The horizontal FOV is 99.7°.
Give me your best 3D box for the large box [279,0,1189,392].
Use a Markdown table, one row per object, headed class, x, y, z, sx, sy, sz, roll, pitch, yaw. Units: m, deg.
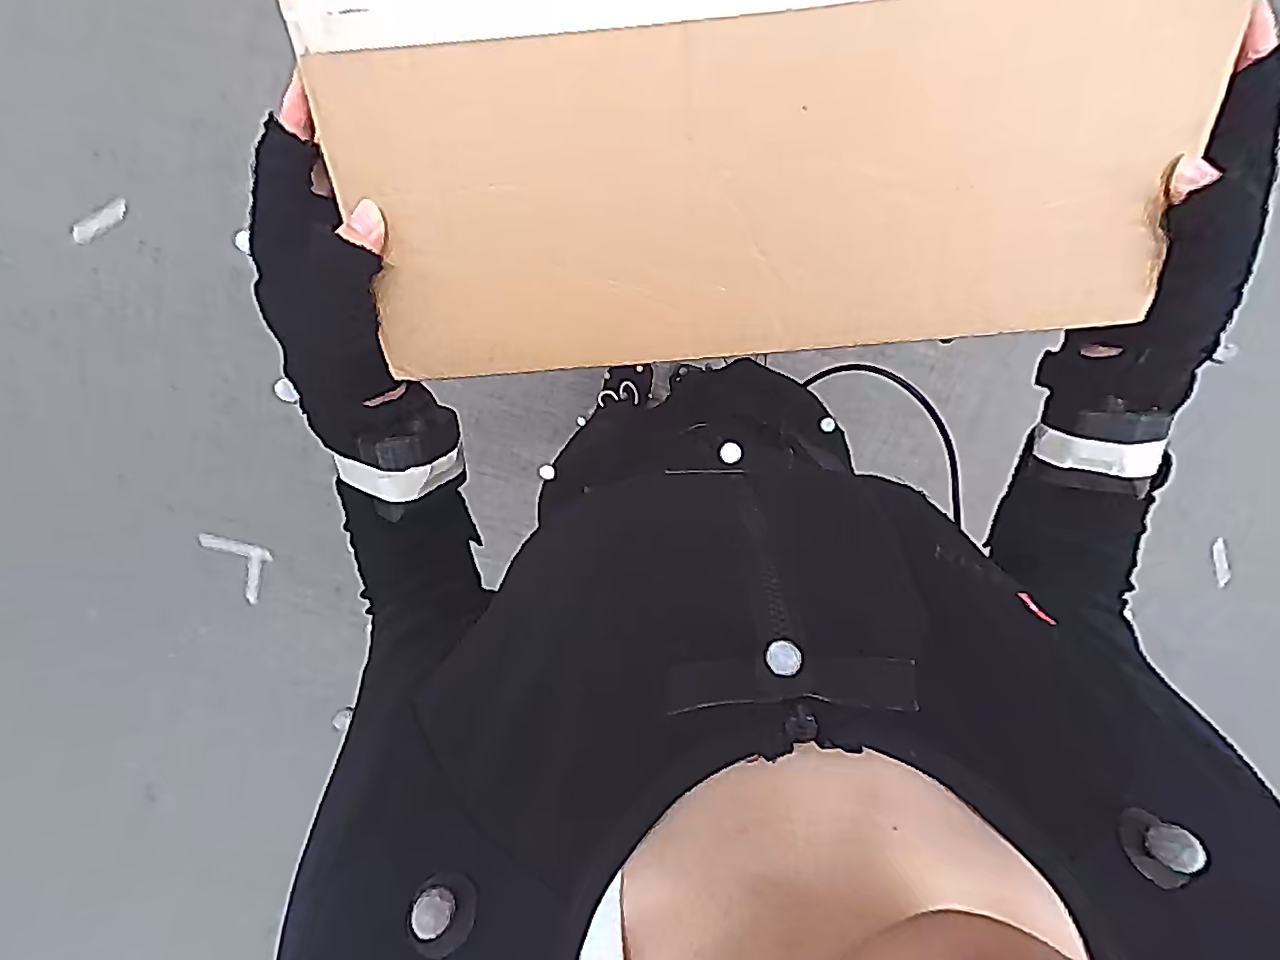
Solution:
| class | x | y | z | sx | sy | sz | roll | pitch | yaw |
| --- | --- | --- | --- | --- | --- | --- | --- | --- | --- |
| large box | 0.042 | -0.276 | 0.367 | 0.408 | 0.320 | 0.320 | -6 | 117 | 2 |
